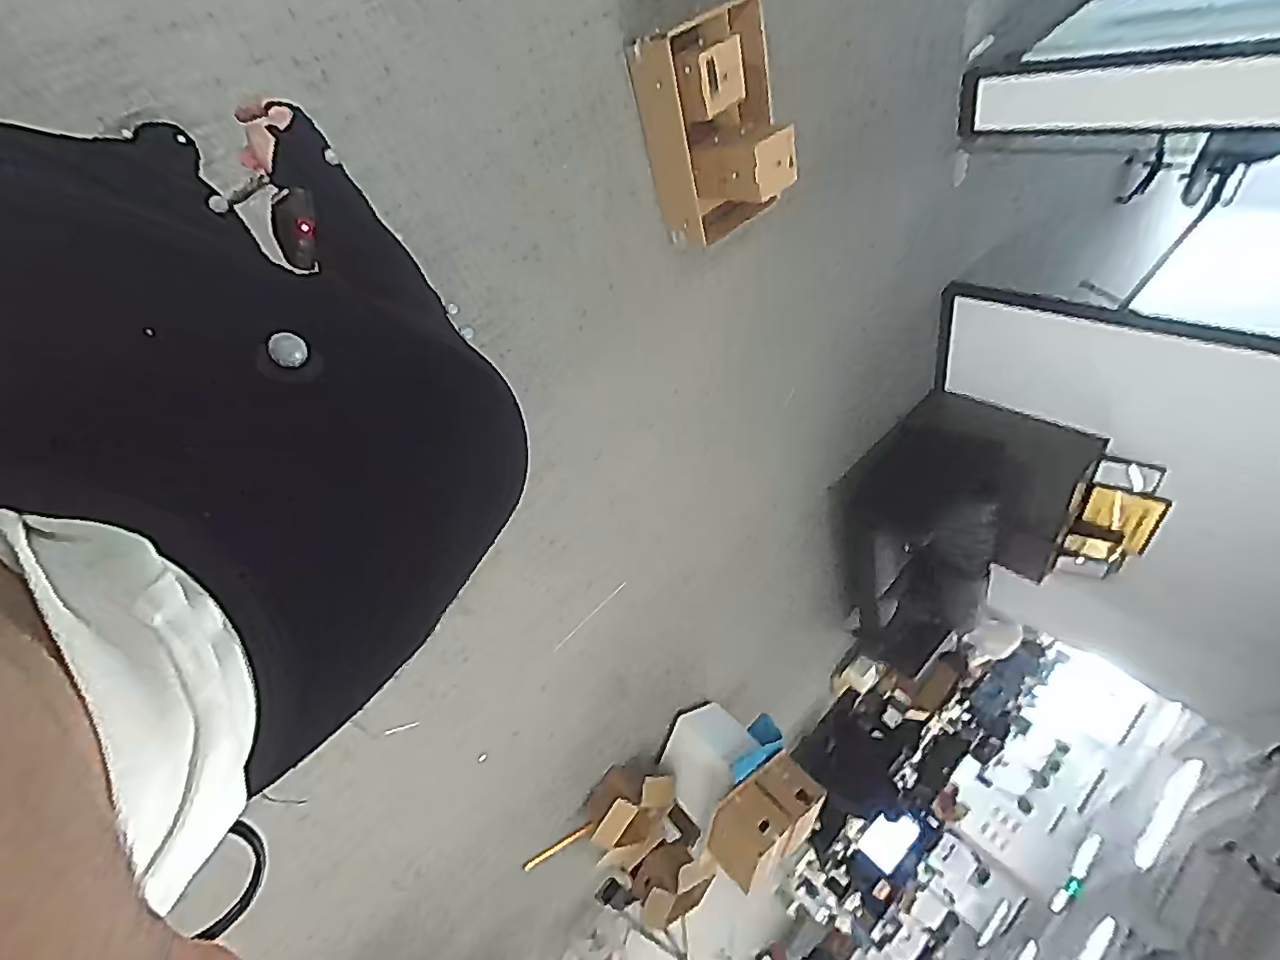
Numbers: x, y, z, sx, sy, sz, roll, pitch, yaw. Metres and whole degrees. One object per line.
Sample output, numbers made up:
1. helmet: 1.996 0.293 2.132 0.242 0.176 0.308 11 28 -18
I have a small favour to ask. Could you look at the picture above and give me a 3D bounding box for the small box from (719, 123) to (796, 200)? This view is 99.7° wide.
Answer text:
1. small box: 0.367 -1.008 1.715 0.179 0.176 0.168 -37 134 -18
